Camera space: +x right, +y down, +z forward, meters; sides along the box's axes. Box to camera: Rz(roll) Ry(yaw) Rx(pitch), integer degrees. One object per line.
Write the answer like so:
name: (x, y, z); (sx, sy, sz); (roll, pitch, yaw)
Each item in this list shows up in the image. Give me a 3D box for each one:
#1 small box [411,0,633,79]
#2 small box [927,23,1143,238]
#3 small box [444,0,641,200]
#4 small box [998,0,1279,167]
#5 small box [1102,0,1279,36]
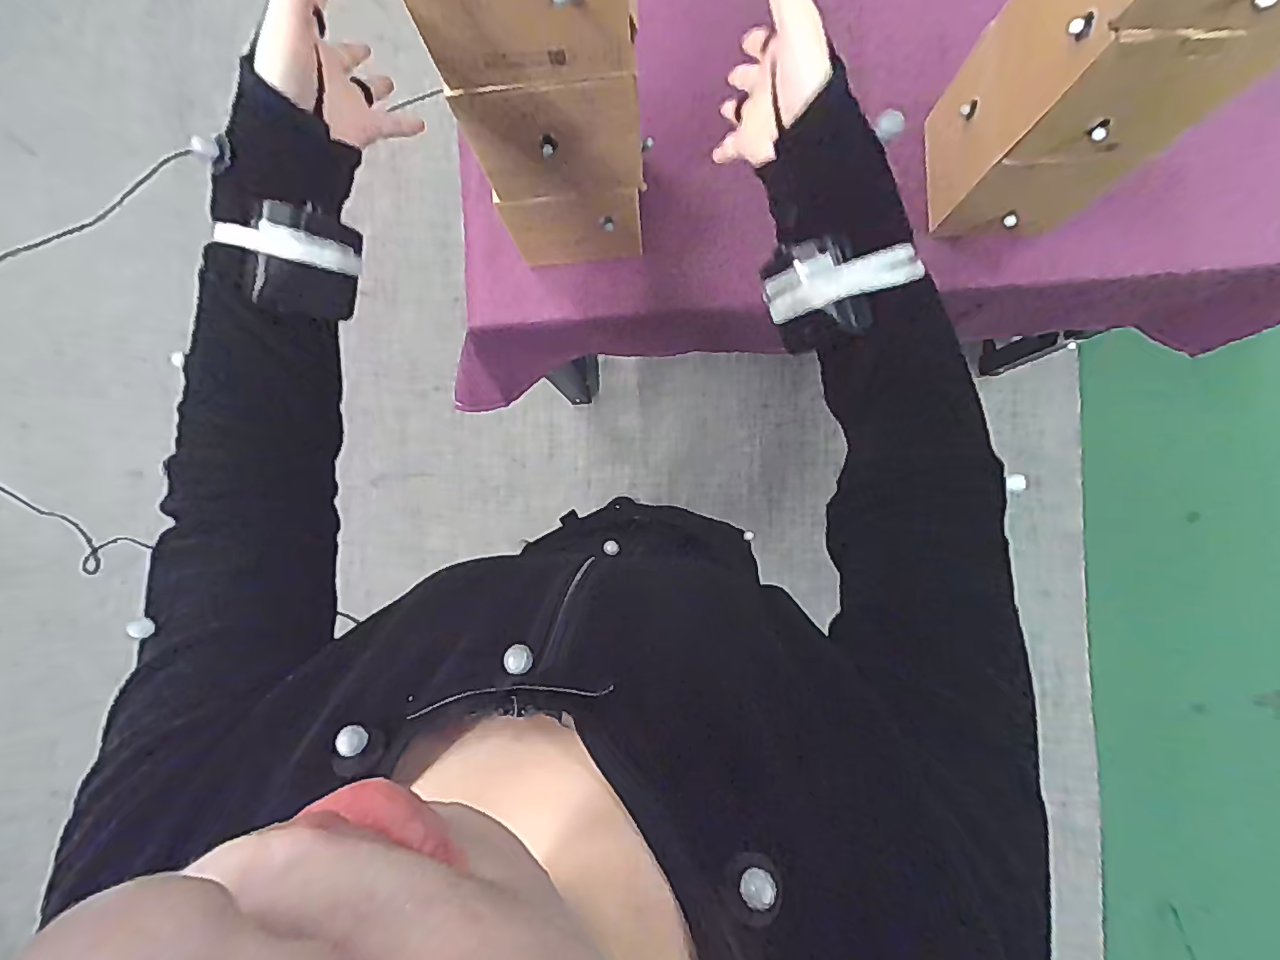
small box: (-0.091, -0.437, 0.400); (0.168, 0.176, 0.179); (-1, 86, 1)
small box: (0.491, -0.438, 0.698); (0.168, 0.176, 0.179); (0, 88, 4)
small box: (-0.090, -0.421, 0.563); (0.179, 0.176, 0.168); (-5, 87, 3)
small box: (0.486, -0.446, 0.535); (0.168, 0.176, 0.179); (0, 88, 3)
small box: (0.475, -0.451, 0.371); (0.179, 0.176, 0.168); (2, 88, 2)
